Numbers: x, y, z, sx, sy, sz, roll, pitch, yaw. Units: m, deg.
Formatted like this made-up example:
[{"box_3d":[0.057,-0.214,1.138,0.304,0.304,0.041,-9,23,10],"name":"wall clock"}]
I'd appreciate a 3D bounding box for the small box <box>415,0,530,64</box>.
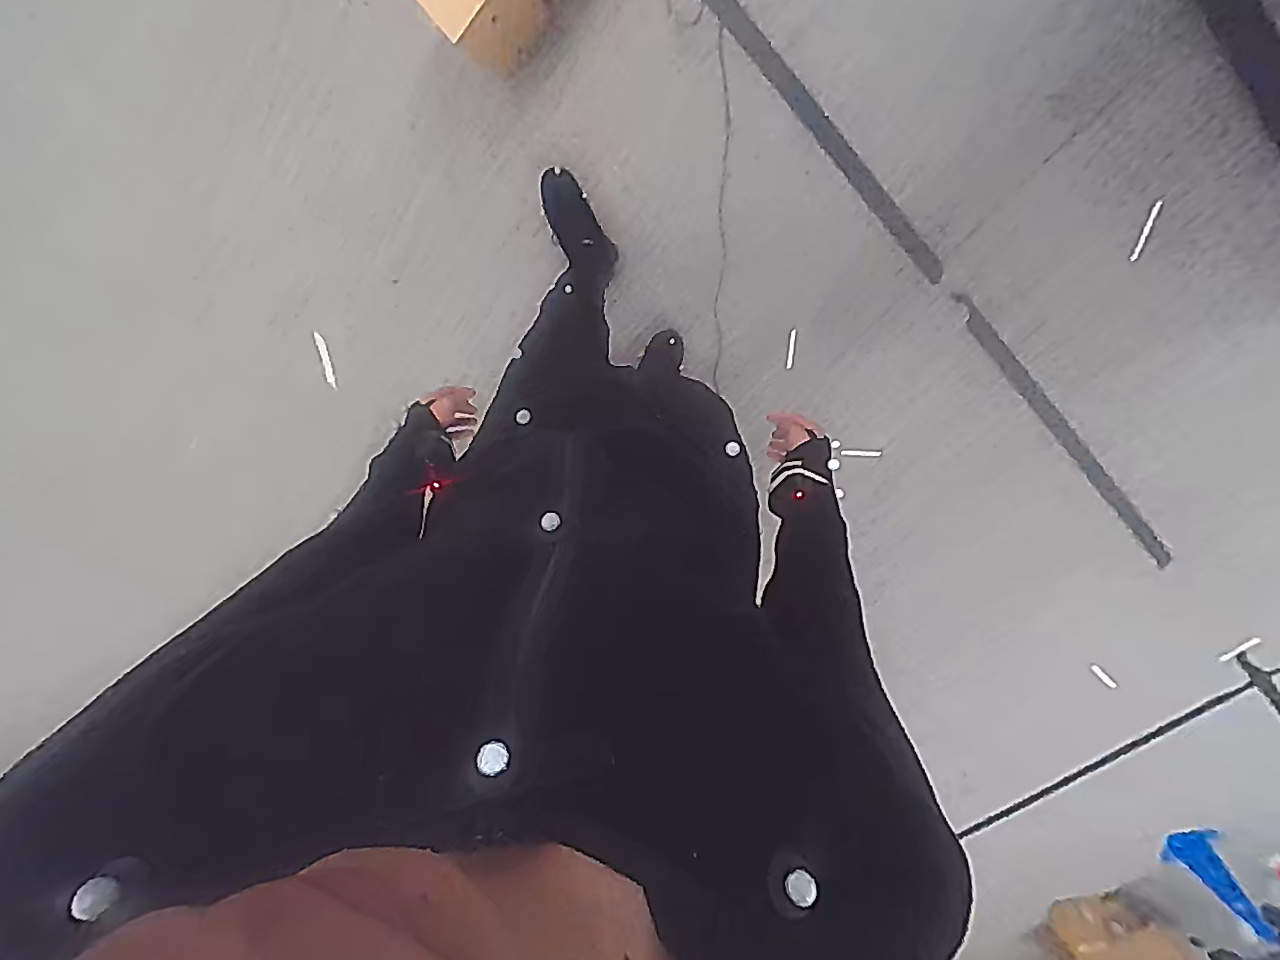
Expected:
[{"box_3d":[-0.316,-0.910,0.978,0.179,0.176,0.168,-40,108,20],"name":"small box"}]
